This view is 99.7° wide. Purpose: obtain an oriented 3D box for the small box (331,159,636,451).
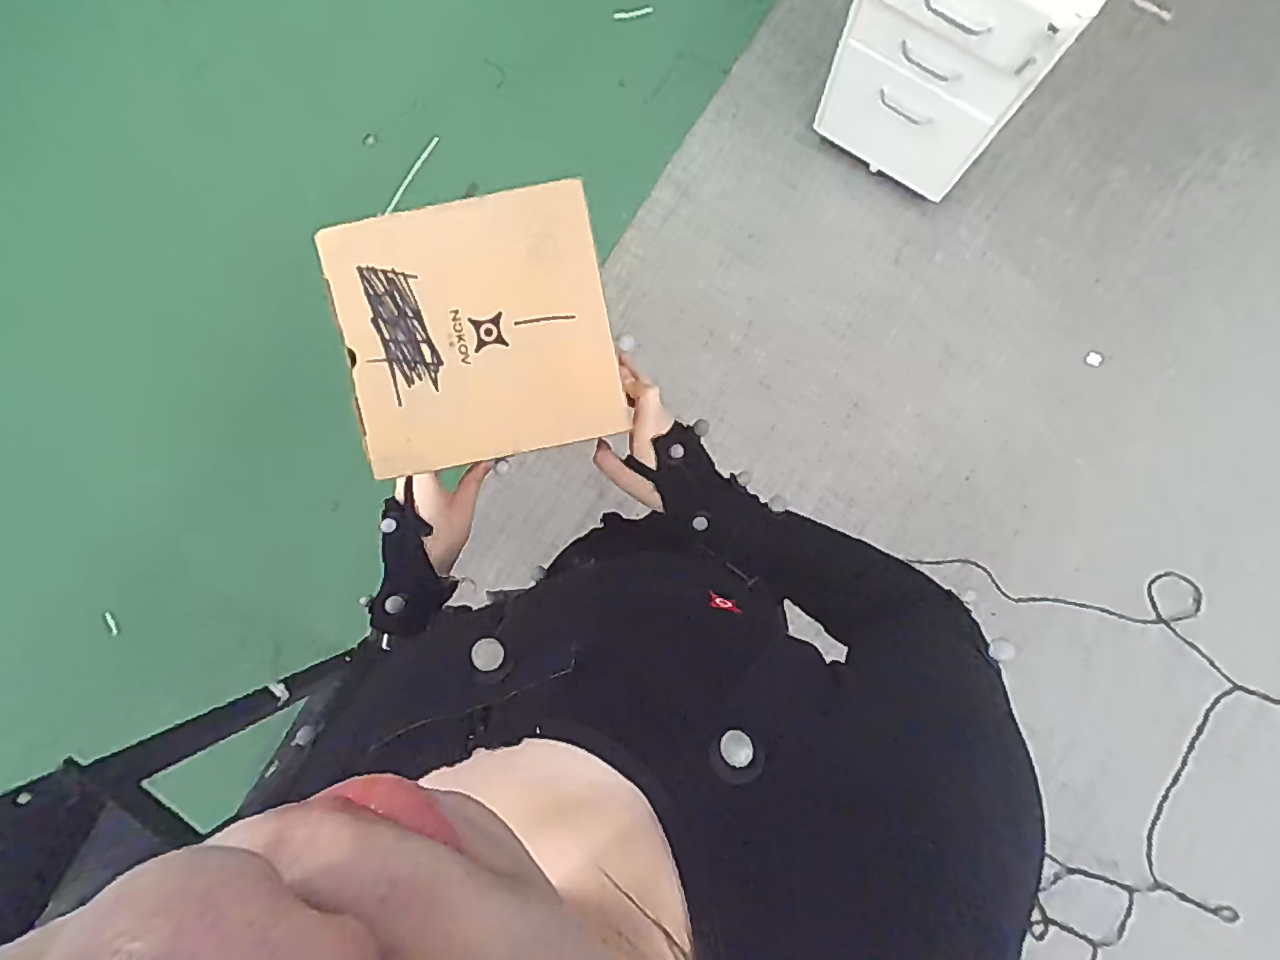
[{"bbox_3d":[-0.101,-0.118,0.431,0.179,0.176,0.168,-11,96,-1],"label":"small box"}]
